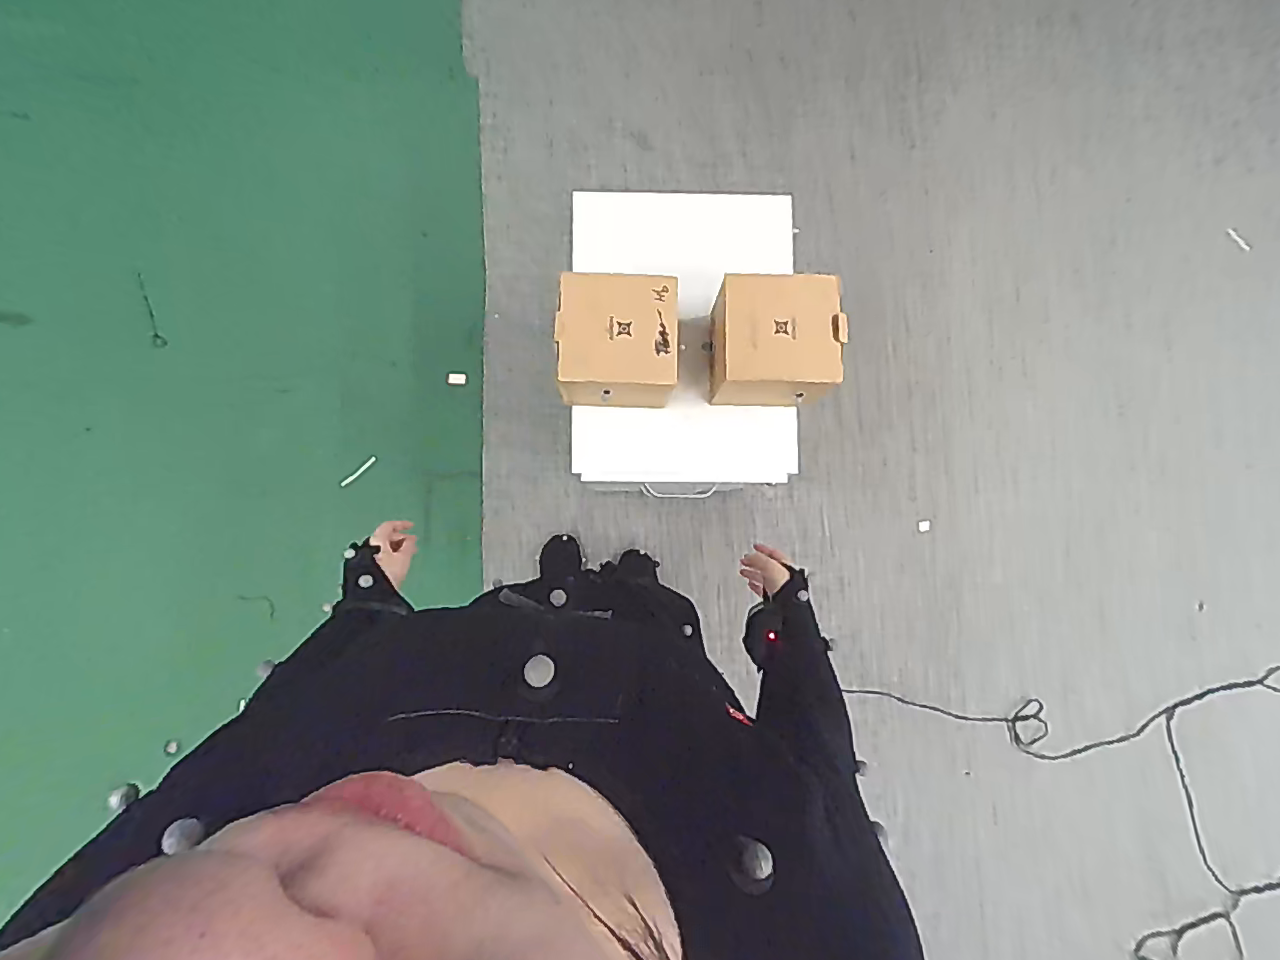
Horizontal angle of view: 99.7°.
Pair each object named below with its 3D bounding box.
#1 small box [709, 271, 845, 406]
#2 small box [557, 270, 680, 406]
[{"bbox_3d":[0.212,-0.218,0.872,0.179,0.176,0.168,1,86,0],"label":"small box"},{"bbox_3d":[-0.033,-0.215,0.860,0.179,0.176,0.168,1,87,-3],"label":"small box"}]
